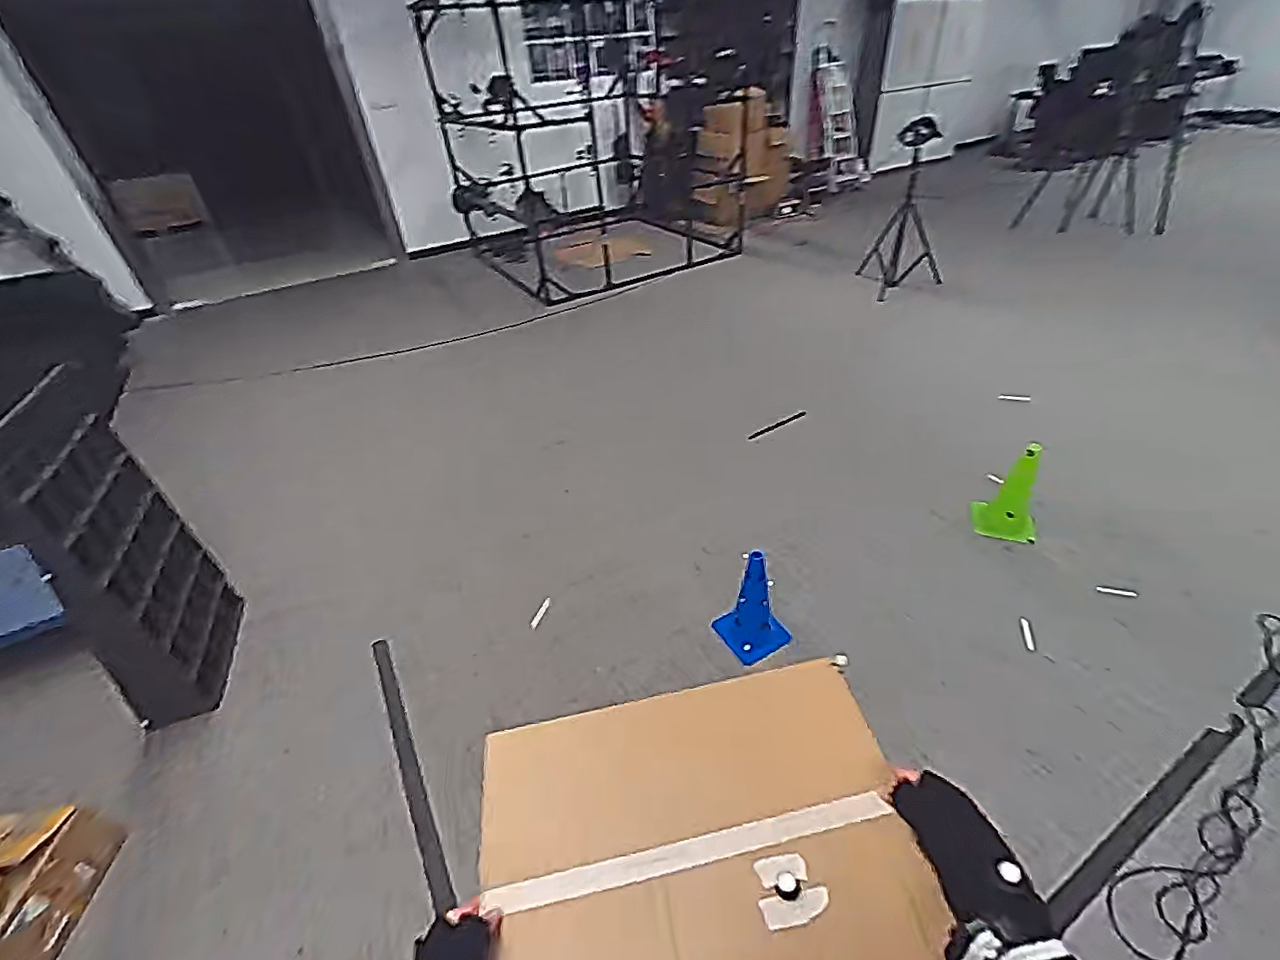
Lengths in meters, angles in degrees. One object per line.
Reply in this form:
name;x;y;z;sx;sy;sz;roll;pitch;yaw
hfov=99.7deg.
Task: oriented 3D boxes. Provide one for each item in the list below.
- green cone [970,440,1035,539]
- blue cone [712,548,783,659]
green cone;1.379;0.014;1.989;0.202;0.368;0.200;8;39;21
blue cone;0.344;0.368;1.698;0.193;0.380;0.192;-21;39;-19
